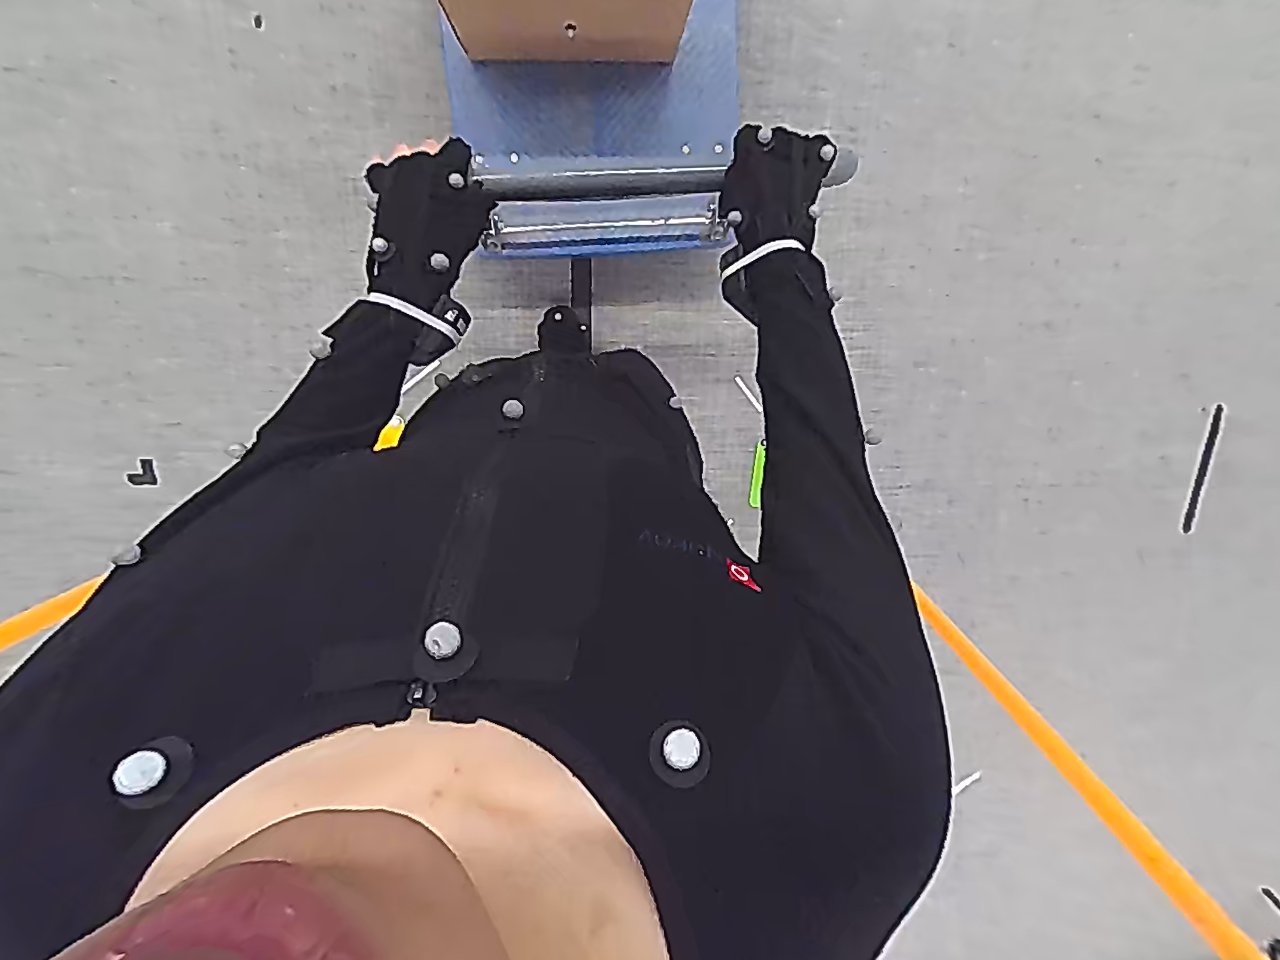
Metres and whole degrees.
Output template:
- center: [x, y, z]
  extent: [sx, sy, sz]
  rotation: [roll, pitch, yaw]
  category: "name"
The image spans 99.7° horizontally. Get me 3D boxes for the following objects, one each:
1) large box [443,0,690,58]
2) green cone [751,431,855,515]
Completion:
- center: [-0.123, -0.934, 0.883]
  extent: [0.408, 0.320, 0.320]
  rotation: [-2, 107, -3]
  category: "large box"
- center: [0.431, 0.013, 1.350]
  extent: [0.202, 0.368, 0.200]
  rotation: [3, 106, -6]
  category: "green cone"
